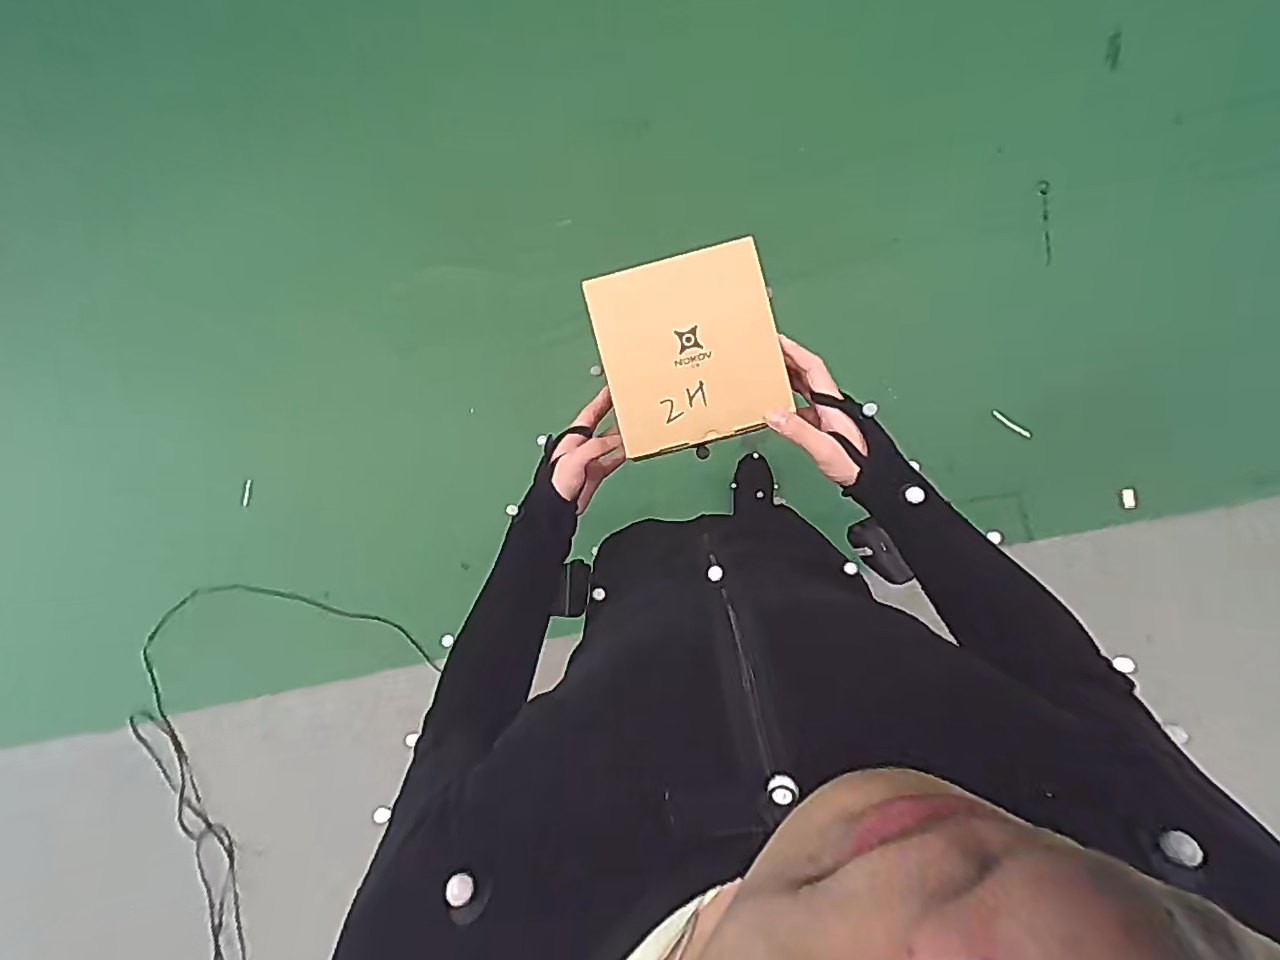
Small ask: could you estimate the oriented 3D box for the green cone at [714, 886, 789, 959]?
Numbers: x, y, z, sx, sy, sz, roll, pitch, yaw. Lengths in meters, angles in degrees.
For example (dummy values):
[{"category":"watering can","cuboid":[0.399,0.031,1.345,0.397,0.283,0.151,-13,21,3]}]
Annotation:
[{"category":"green cone","cuboid":[0.313,1.328,1.456,0.202,0.368,0.200,-11,90,8]}]
